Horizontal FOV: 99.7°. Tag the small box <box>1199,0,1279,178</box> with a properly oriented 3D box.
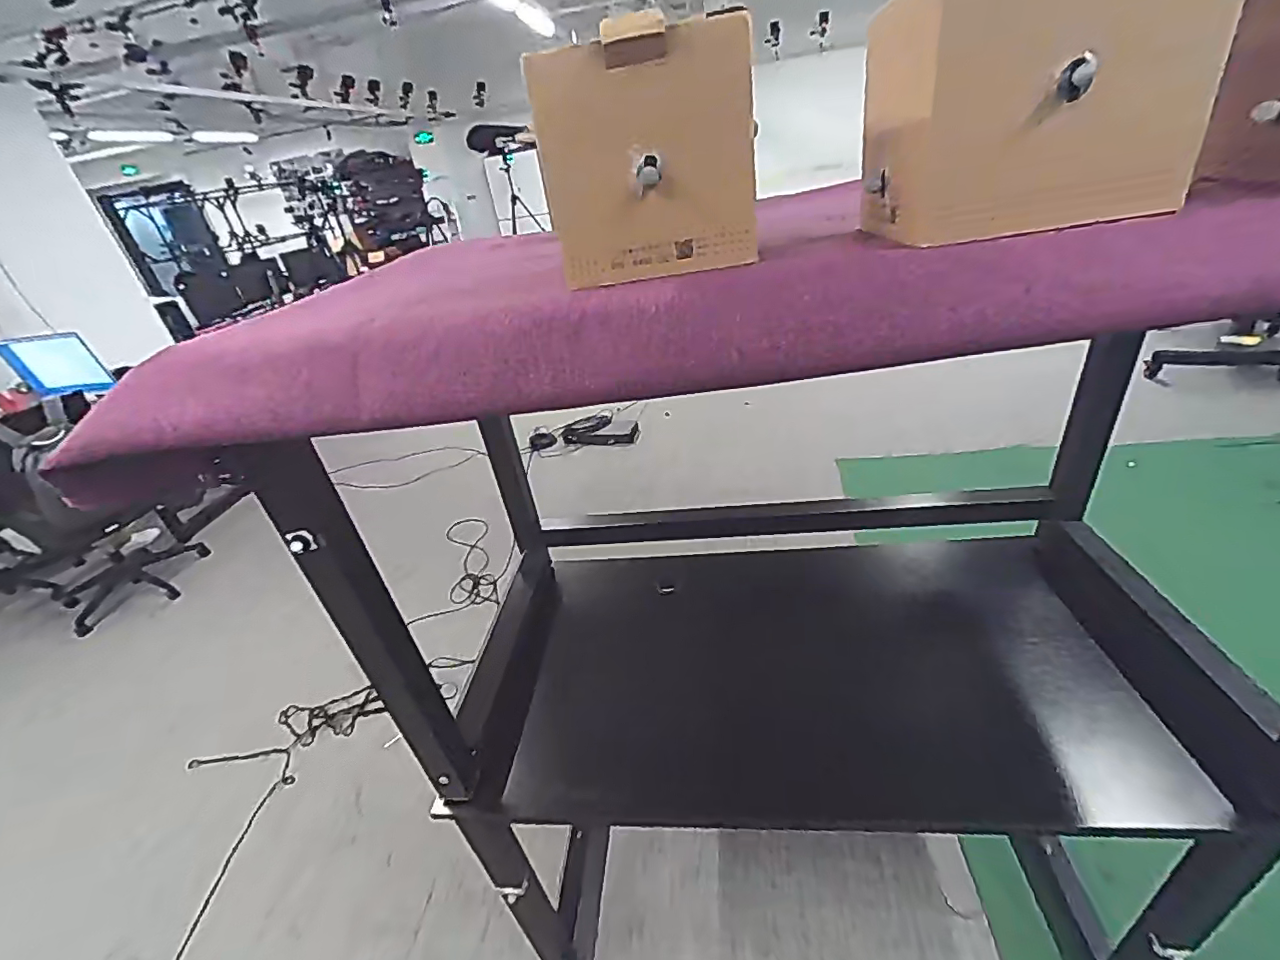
[{"bbox_3d":[0.559,-0.312,0.367,0.179,0.176,0.168,-5,31,11],"label":"small box"}]

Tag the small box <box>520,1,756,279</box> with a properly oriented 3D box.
[{"bbox_3d":[0.009,-0.286,0.486,0.168,0.176,0.179,-6,30,6],"label":"small box"}]
